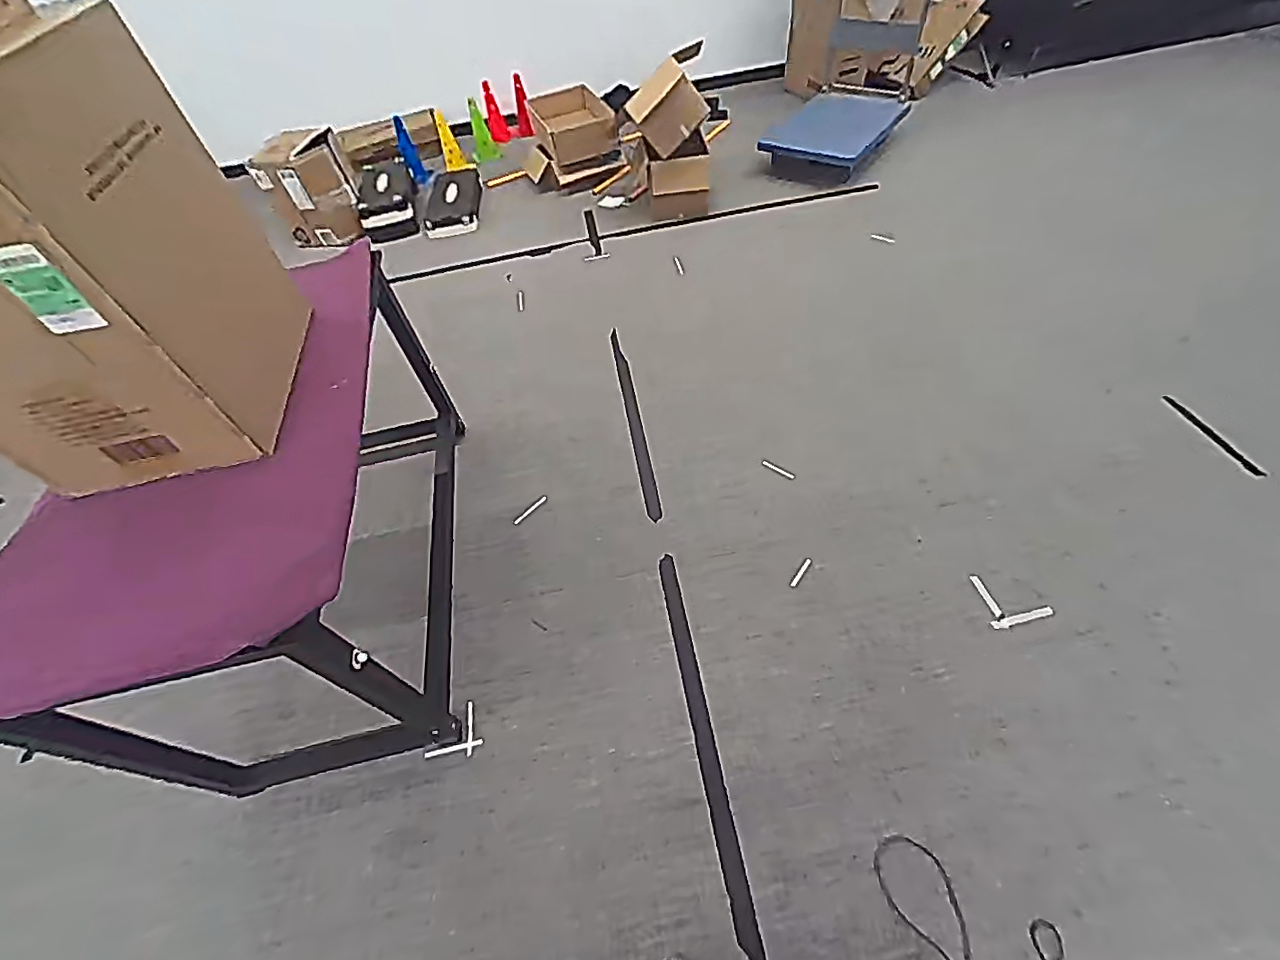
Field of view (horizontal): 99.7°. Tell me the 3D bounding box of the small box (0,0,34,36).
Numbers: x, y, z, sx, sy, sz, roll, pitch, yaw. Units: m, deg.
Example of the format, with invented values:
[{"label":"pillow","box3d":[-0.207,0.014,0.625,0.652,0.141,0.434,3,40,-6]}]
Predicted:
[{"label":"small box","box3d":[-1.050,-0.719,0.759,0.179,0.176,0.168,-15,53,-6]}]
